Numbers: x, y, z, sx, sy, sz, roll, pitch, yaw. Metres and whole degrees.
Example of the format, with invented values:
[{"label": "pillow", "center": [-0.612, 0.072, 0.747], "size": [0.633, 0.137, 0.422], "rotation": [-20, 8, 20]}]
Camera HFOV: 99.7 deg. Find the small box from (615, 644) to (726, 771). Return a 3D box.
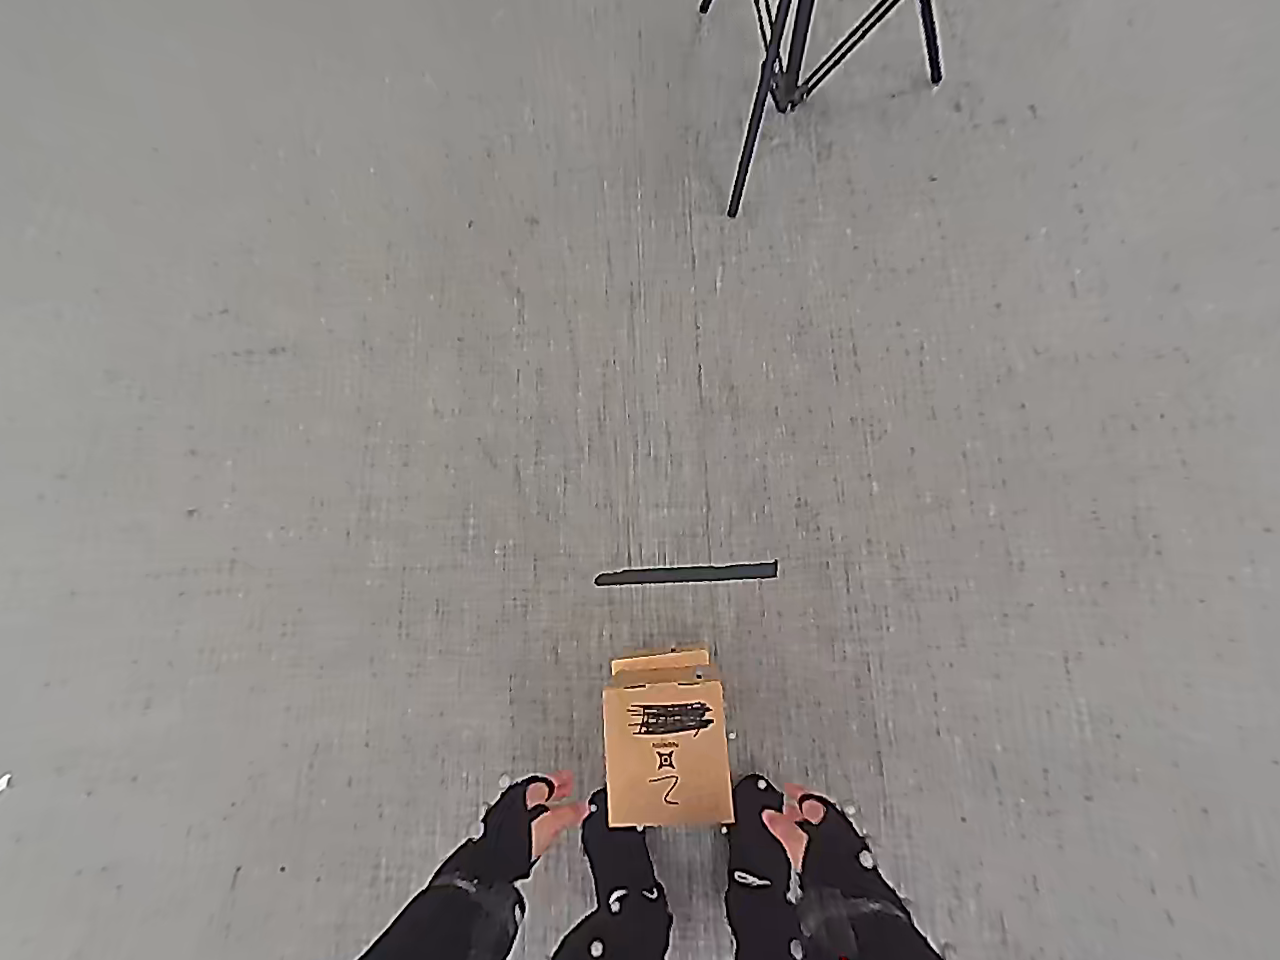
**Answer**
[{"label": "small box", "center": [0.053, 0.388, 0.953], "size": [0.168, 0.176, 0.179], "rotation": [-8, 77, 4]}]
